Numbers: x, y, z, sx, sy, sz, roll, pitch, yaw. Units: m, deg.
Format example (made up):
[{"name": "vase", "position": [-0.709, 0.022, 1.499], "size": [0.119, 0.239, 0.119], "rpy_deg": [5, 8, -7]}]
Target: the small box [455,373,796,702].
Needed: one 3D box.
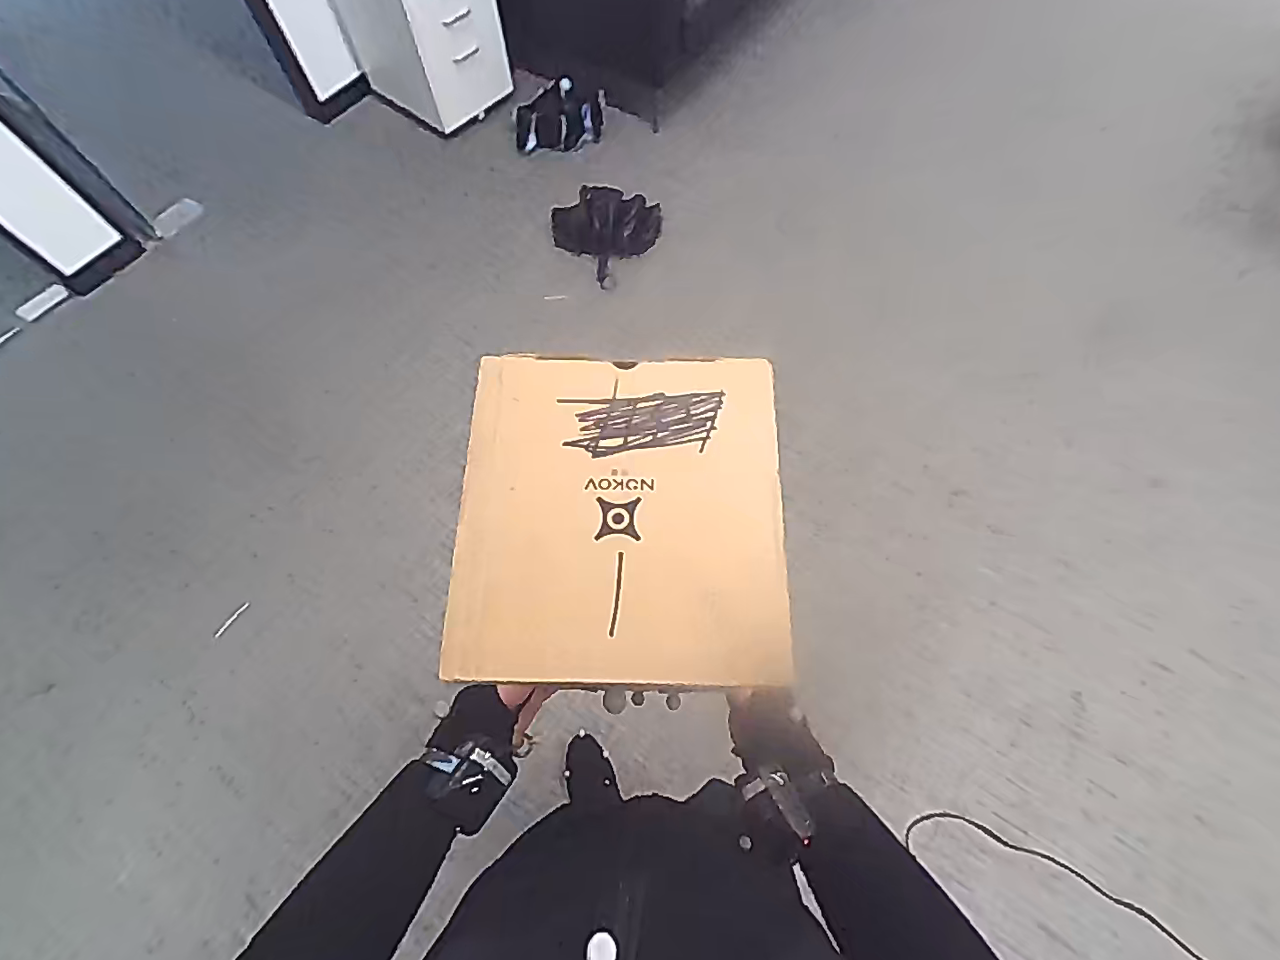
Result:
[{"name": "small box", "position": [-0.005, 0.049, 0.359], "size": [0.168, 0.176, 0.179], "rpy_deg": [1, 70, 1]}]
